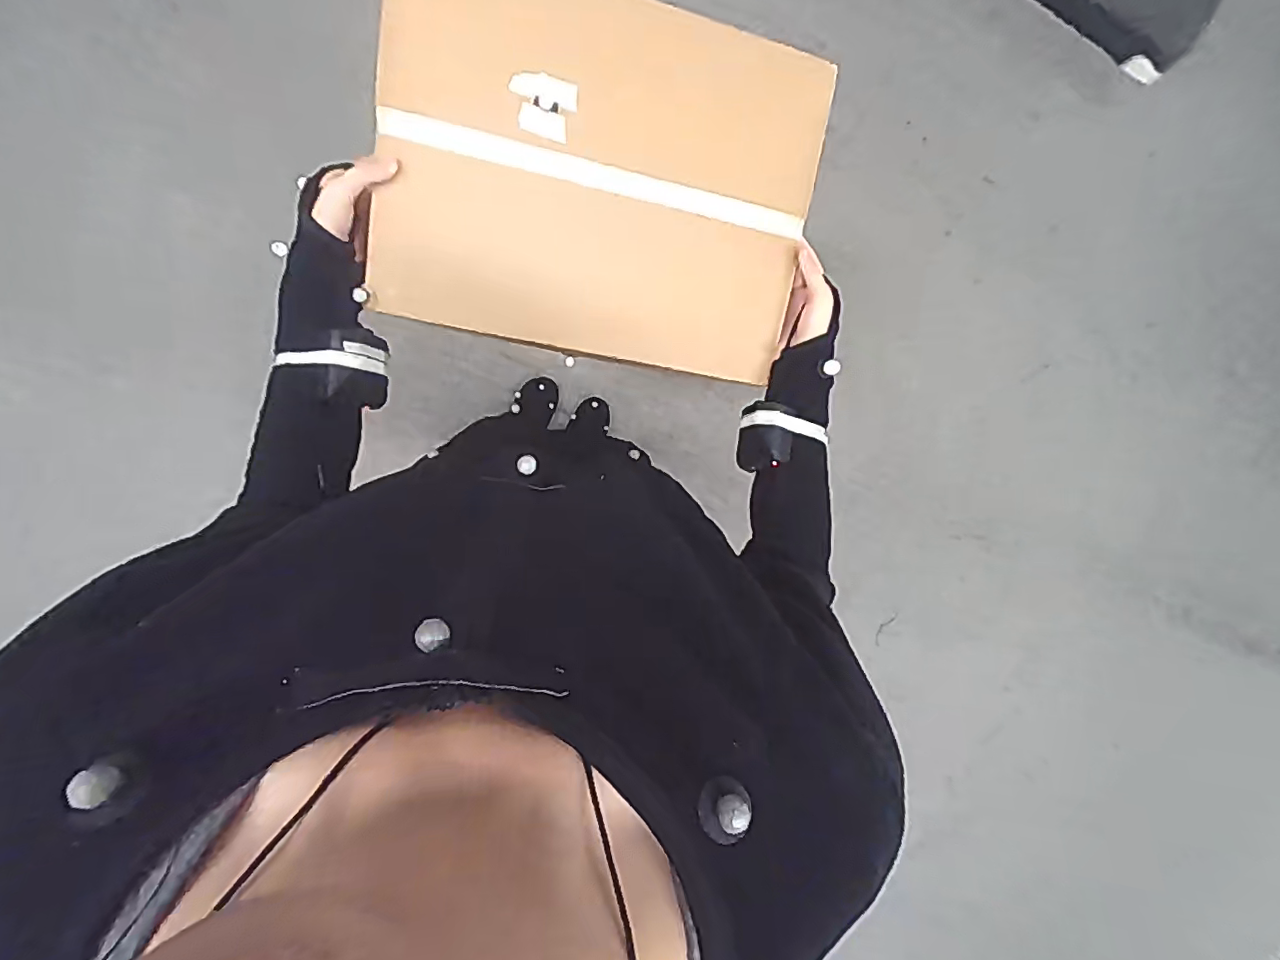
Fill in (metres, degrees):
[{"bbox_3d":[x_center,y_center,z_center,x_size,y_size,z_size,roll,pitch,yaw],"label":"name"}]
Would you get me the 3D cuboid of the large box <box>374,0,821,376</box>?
[{"bbox_3d":[-0.060,-0.315,0.661,0.408,0.320,0.320,7,101,-12],"label":"large box"}]
